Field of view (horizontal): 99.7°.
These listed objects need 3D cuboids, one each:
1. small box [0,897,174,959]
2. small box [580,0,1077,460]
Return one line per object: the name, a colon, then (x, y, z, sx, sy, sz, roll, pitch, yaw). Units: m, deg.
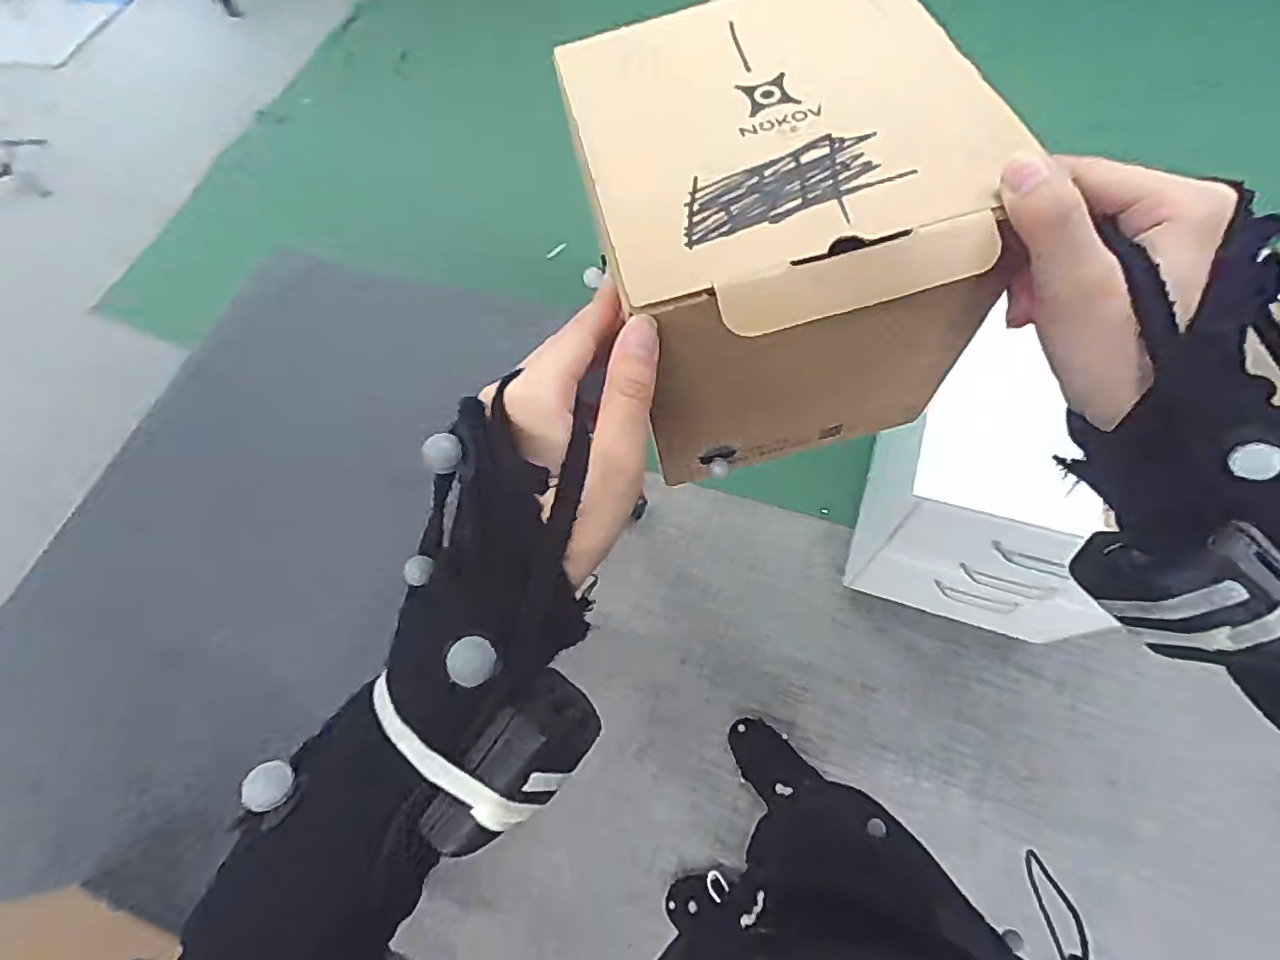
small box: (-0.549, 0.480, 0.438, 0.179, 0.176, 0.168, 10, 69, 14)
small box: (0.075, -0.126, 0.305, 0.168, 0.176, 0.179, -14, 65, 1)
